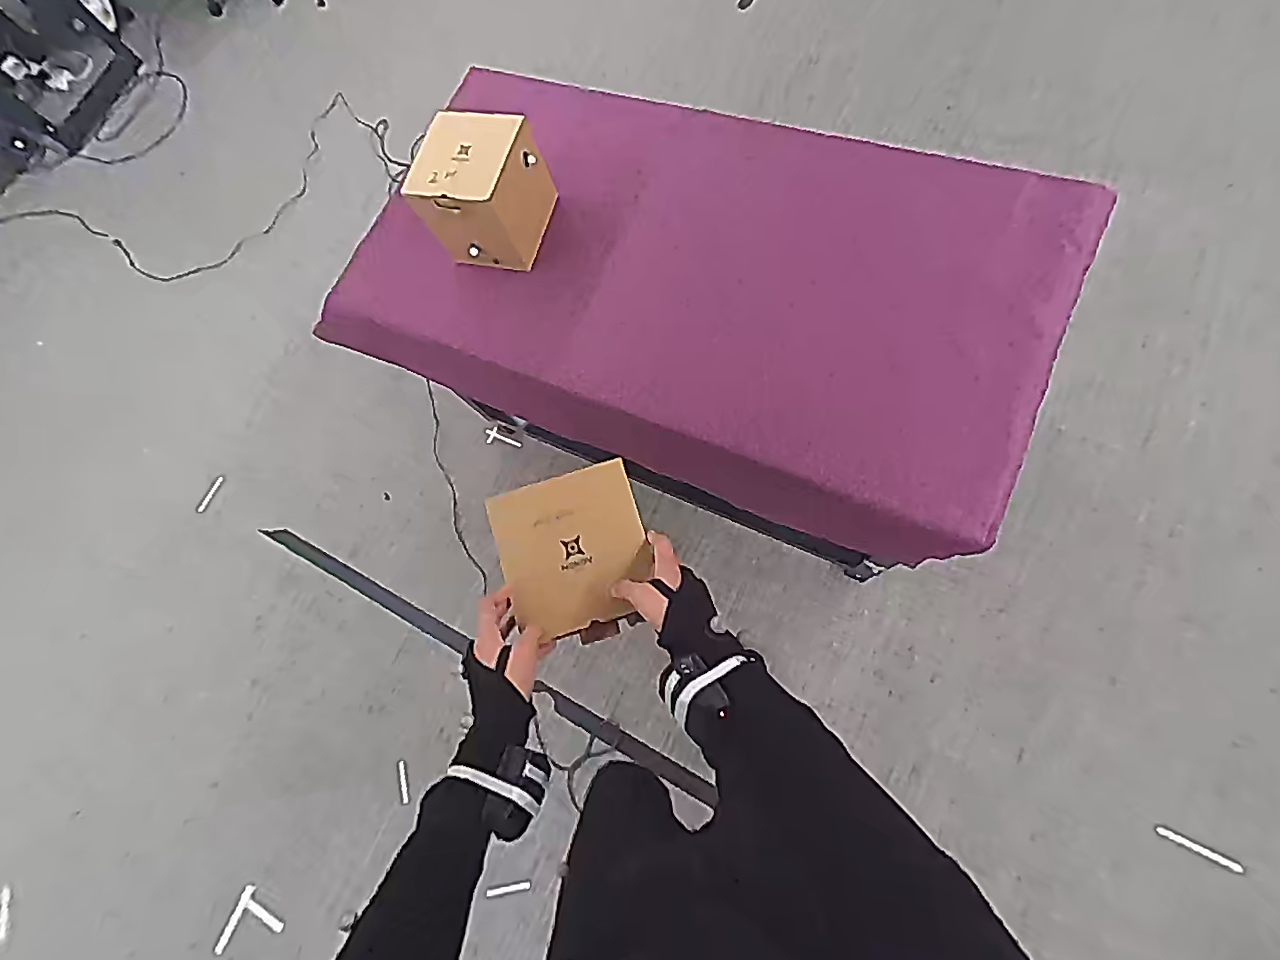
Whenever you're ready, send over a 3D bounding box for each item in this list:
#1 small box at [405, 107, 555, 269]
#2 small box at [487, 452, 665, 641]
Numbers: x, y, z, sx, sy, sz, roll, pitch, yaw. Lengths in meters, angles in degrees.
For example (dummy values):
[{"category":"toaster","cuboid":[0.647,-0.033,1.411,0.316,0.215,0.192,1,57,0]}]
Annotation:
[{"category":"small box","cuboid":[-0.262,-0.500,0.937,0.168,0.176,0.179,13,77,15]},{"category":"small box","cuboid":[-0.070,0.083,0.675,0.168,0.176,0.179,-16,80,-3]}]
